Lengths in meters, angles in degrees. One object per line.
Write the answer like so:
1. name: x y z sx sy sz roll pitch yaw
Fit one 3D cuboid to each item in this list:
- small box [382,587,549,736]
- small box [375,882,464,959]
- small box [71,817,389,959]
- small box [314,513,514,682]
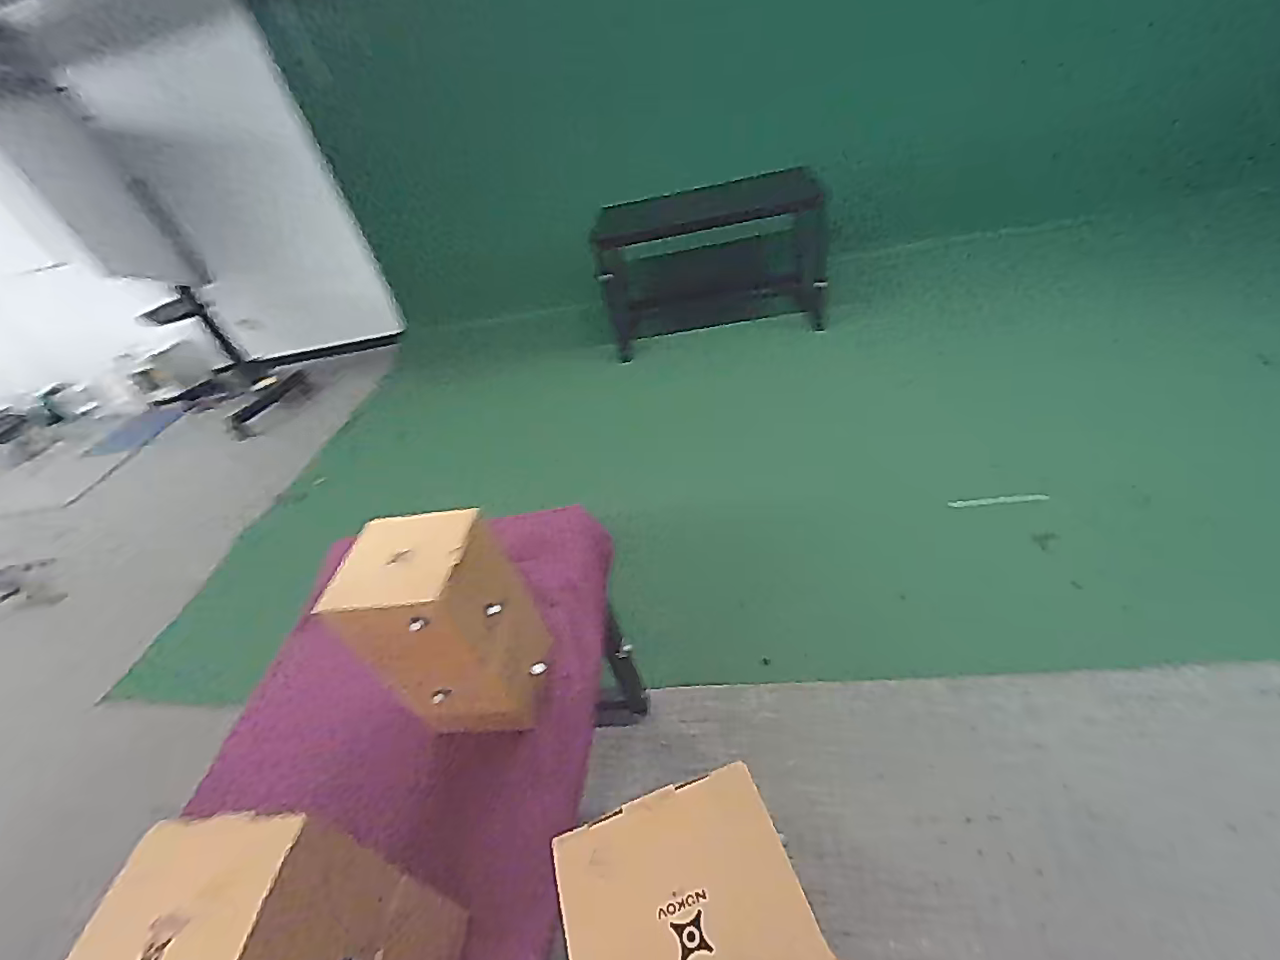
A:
1. small box: -0.266 0.294 0.870 0.179 0.176 0.168 -7 39 10
2. small box: -0.319 0.550 0.573 0.179 0.176 0.168 -9 39 10
3. small box: -0.353 0.426 0.471 0.168 0.176 0.179 -11 38 10
4. small box: -0.304 0.171 0.771 0.179 0.176 0.168 -7 39 10
